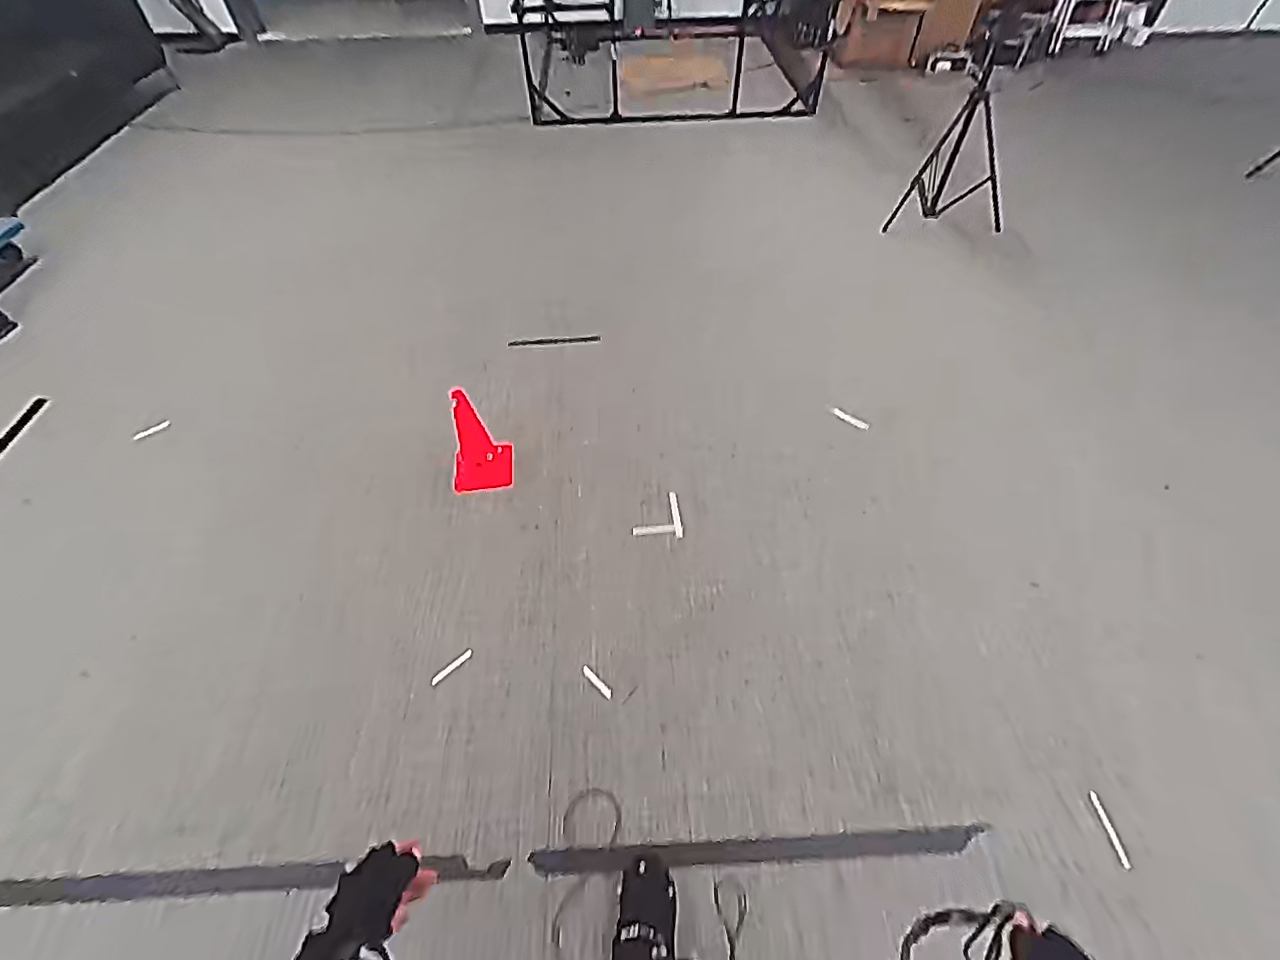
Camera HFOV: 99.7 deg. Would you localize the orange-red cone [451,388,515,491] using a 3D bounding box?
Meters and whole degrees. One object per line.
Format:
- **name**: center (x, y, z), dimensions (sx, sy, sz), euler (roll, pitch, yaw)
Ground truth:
- **orange-red cone**: center (-0.543, -0.151, 1.748), dimensions (0.199, 0.360, 0.198), euler (-7, 51, -3)
